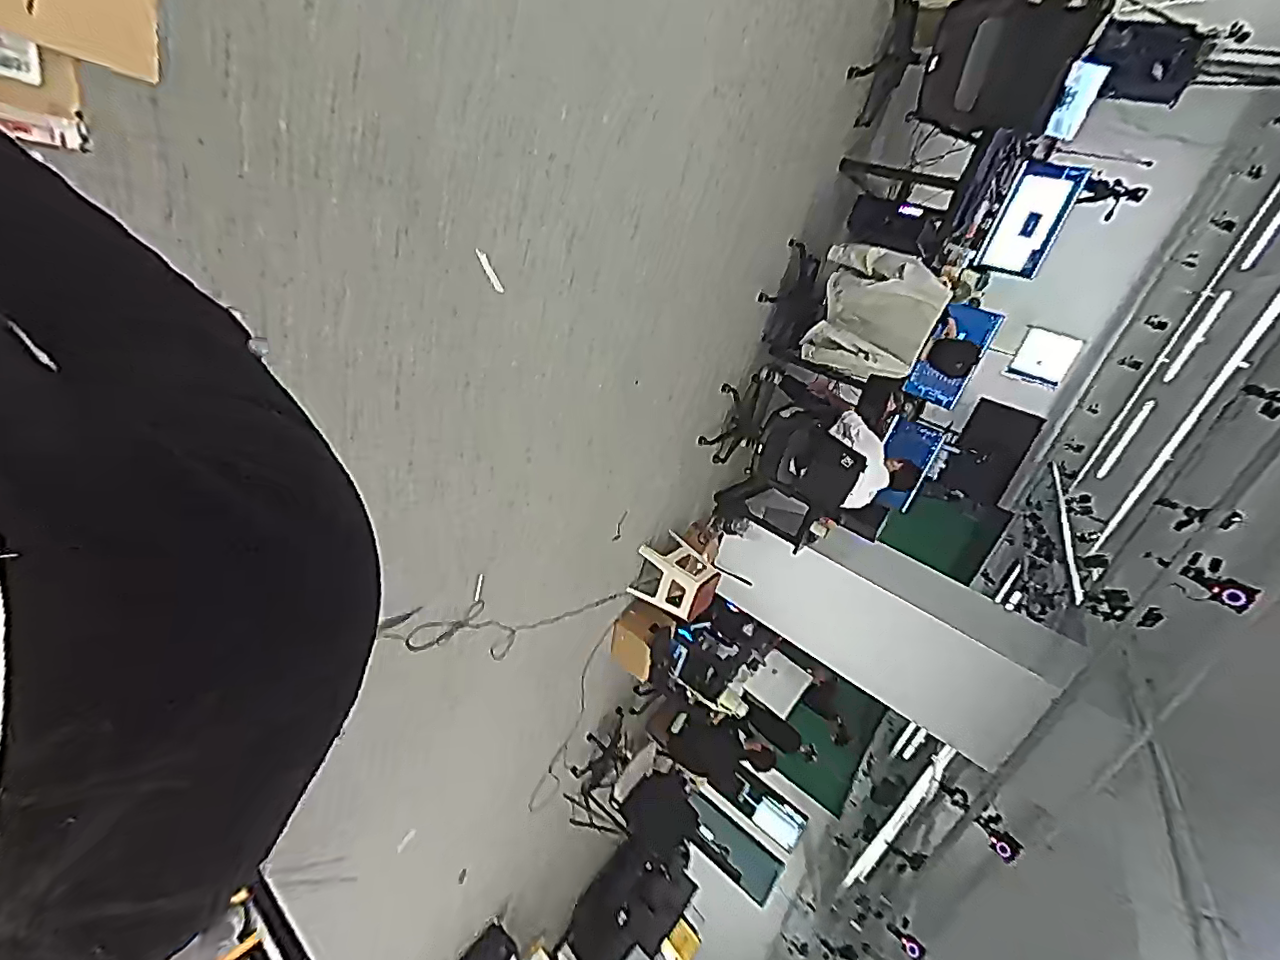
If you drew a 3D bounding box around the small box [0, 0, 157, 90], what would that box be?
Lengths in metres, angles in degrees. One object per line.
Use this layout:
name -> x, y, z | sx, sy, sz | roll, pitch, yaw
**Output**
small box -> -0.553, -0.481, 0.464 | 0.168, 0.176, 0.179 | -17, 133, -56
